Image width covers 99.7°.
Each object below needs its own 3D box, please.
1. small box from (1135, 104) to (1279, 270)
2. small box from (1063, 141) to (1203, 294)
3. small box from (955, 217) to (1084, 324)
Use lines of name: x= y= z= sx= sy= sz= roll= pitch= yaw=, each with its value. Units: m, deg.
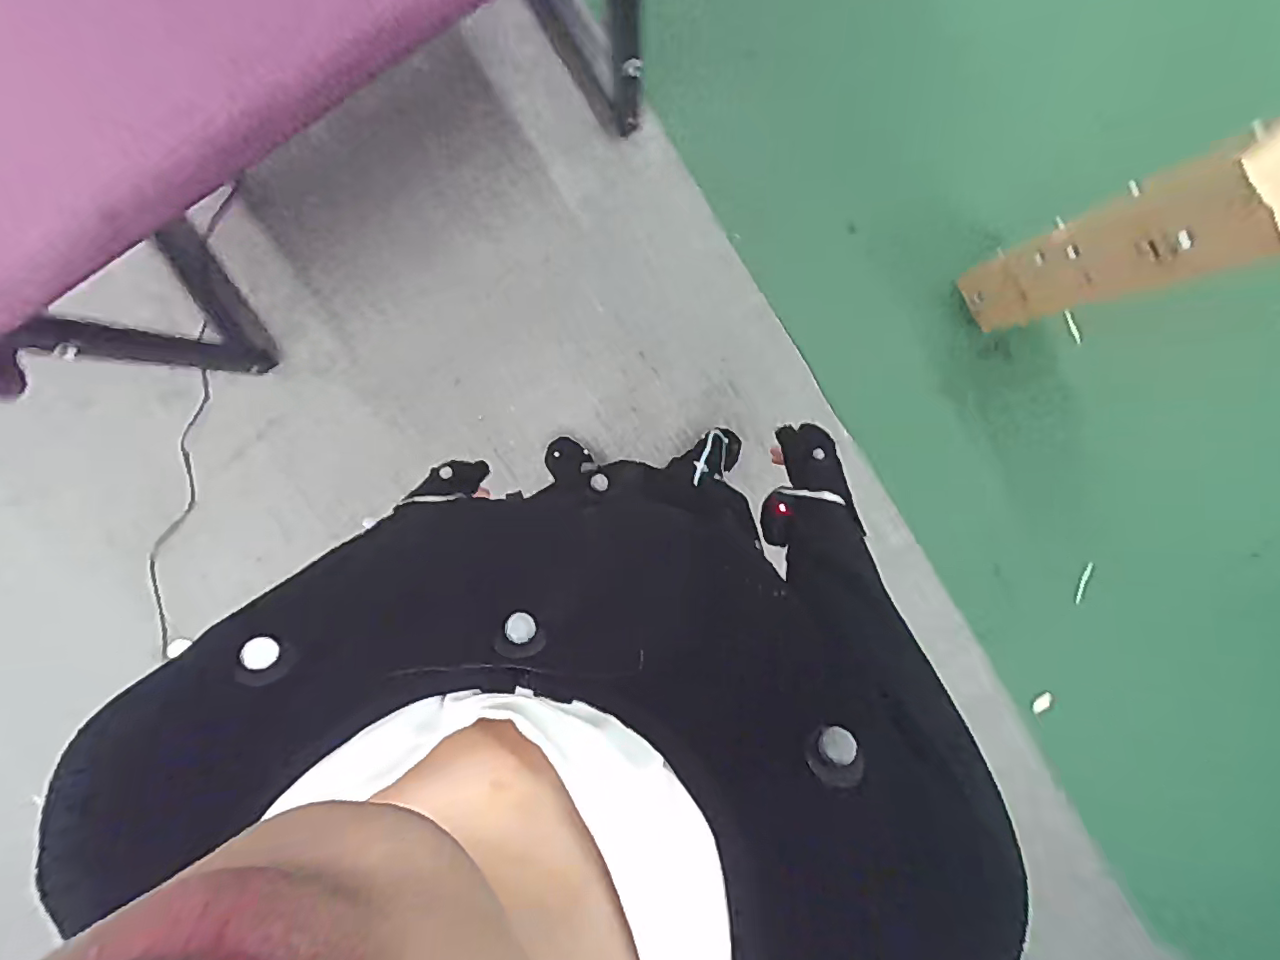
small box: x=0.965 y=-0.469 z=0.859 sx=0.179 sy=0.176 sz=0.168 roll=-39 pitch=96 yaw=4
small box: x=0.956 y=-0.481 z=1.023 sx=0.179 sy=0.176 sz=0.168 roll=-38 pitch=97 yaw=3
small box: x=0.940 y=-0.513 z=1.350 sx=0.179 sy=0.176 sz=0.168 roll=-33 pitch=96 yaw=4
